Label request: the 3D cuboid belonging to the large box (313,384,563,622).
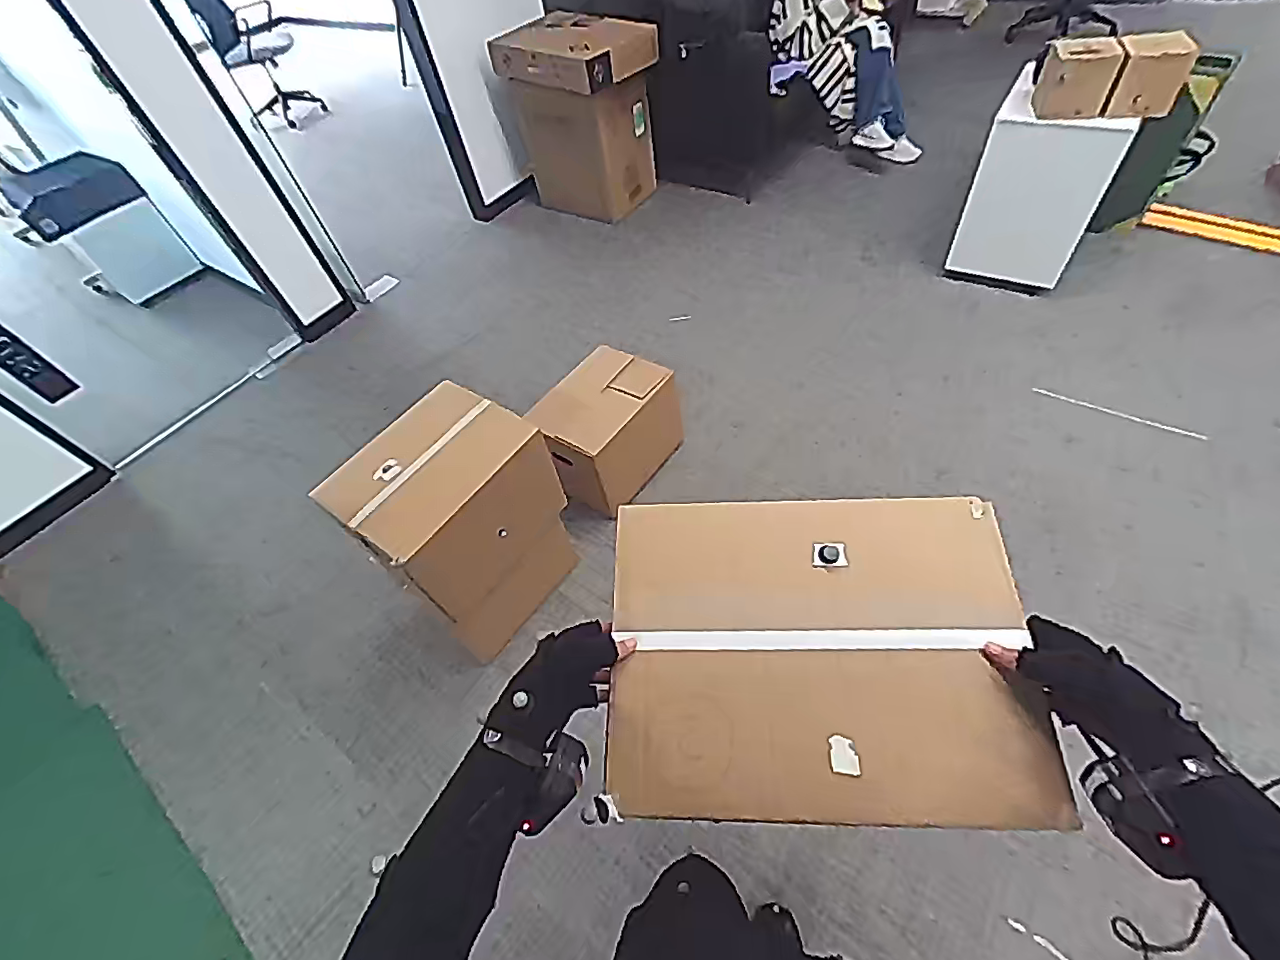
[{"bbox_3d":[-0.445,0.052,1.288,0.320,0.320,0.408,28,62,24],"label":"large box"}]
